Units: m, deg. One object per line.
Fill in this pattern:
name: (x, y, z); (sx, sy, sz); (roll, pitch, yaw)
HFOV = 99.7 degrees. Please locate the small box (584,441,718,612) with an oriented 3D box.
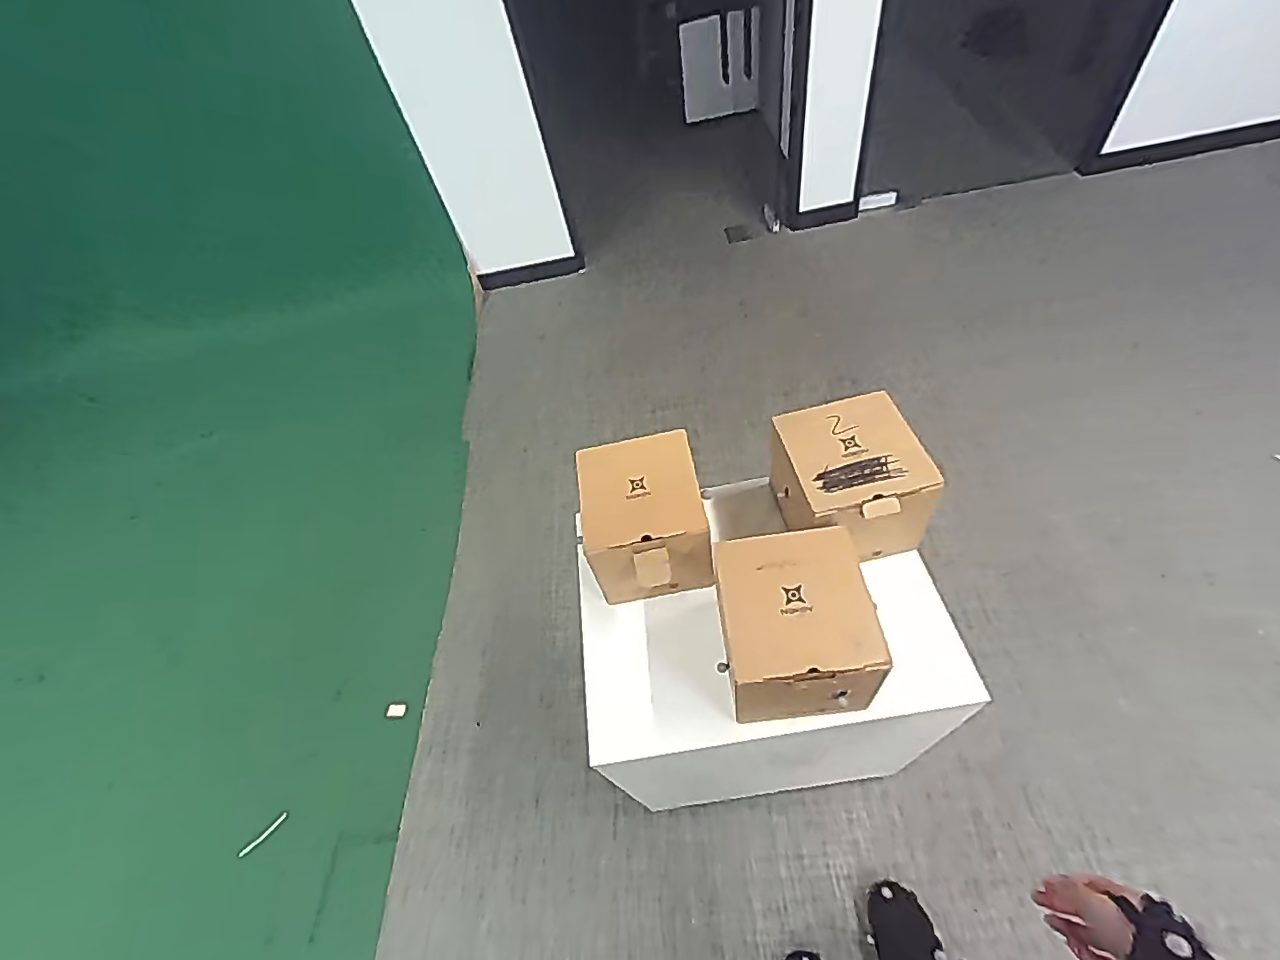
small box: (0.018, 0.072, 0.802); (0.168, 0.176, 0.179); (-11, 53, 3)

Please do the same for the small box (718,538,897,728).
small box: (0.193, 0.196, 0.669); (0.168, 0.176, 0.179); (-8, 50, 5)
